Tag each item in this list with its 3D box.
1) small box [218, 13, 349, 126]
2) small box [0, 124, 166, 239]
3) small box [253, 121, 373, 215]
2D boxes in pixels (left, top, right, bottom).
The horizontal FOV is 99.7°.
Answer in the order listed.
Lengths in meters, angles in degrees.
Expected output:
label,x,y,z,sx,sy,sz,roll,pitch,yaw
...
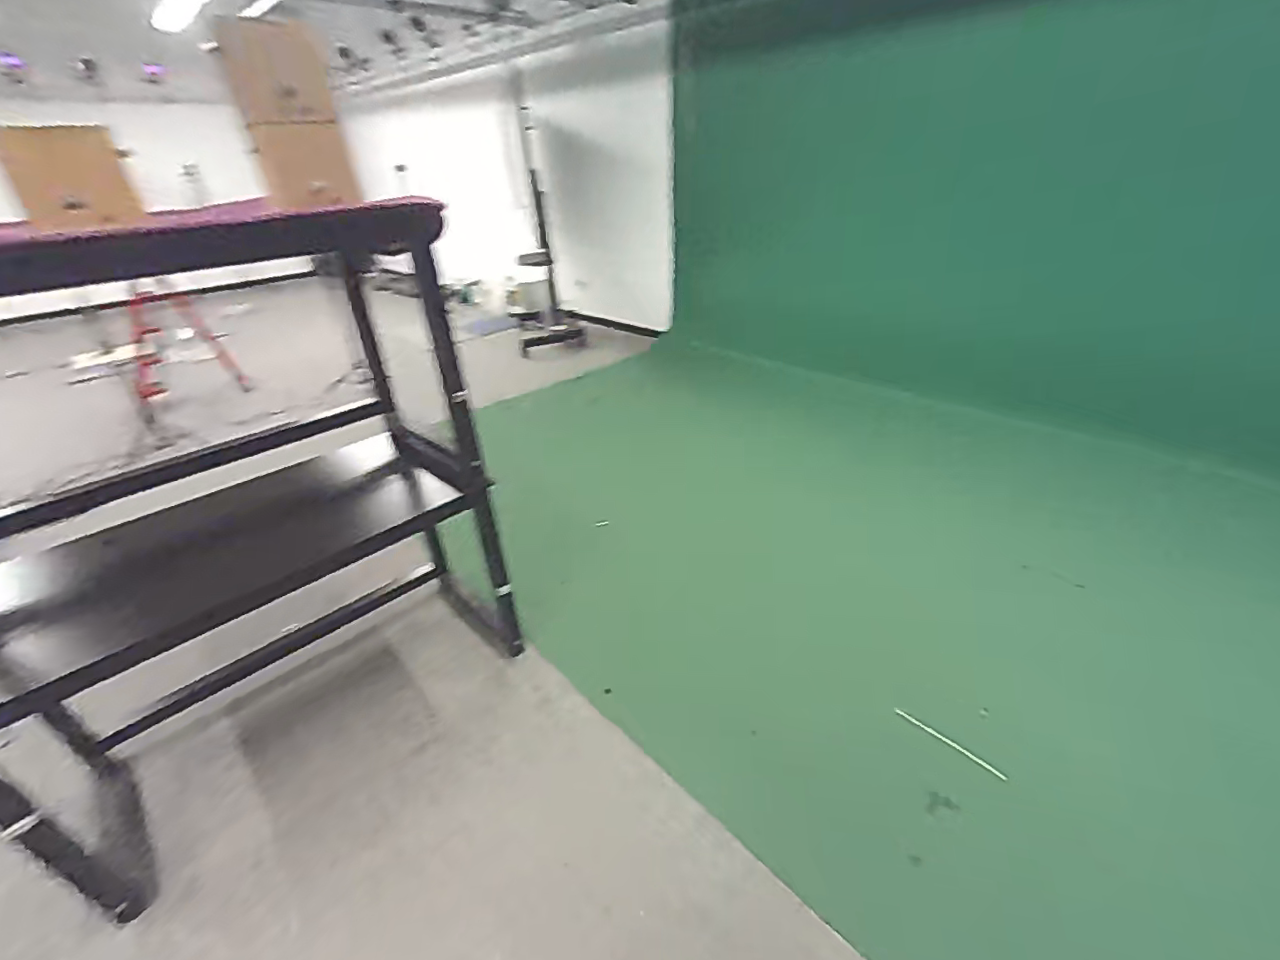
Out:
label,x,y,z,sx,sy,sz,roll,pitch,yaw
small box,-0.731,-0.830,1.114,0.168,0.176,0.179,-26,38,-31
small box,-1.004,-0.538,0.982,0.168,0.176,0.179,-26,37,-32
small box,-0.722,-0.689,1.199,0.168,0.176,0.179,-26,39,-31
